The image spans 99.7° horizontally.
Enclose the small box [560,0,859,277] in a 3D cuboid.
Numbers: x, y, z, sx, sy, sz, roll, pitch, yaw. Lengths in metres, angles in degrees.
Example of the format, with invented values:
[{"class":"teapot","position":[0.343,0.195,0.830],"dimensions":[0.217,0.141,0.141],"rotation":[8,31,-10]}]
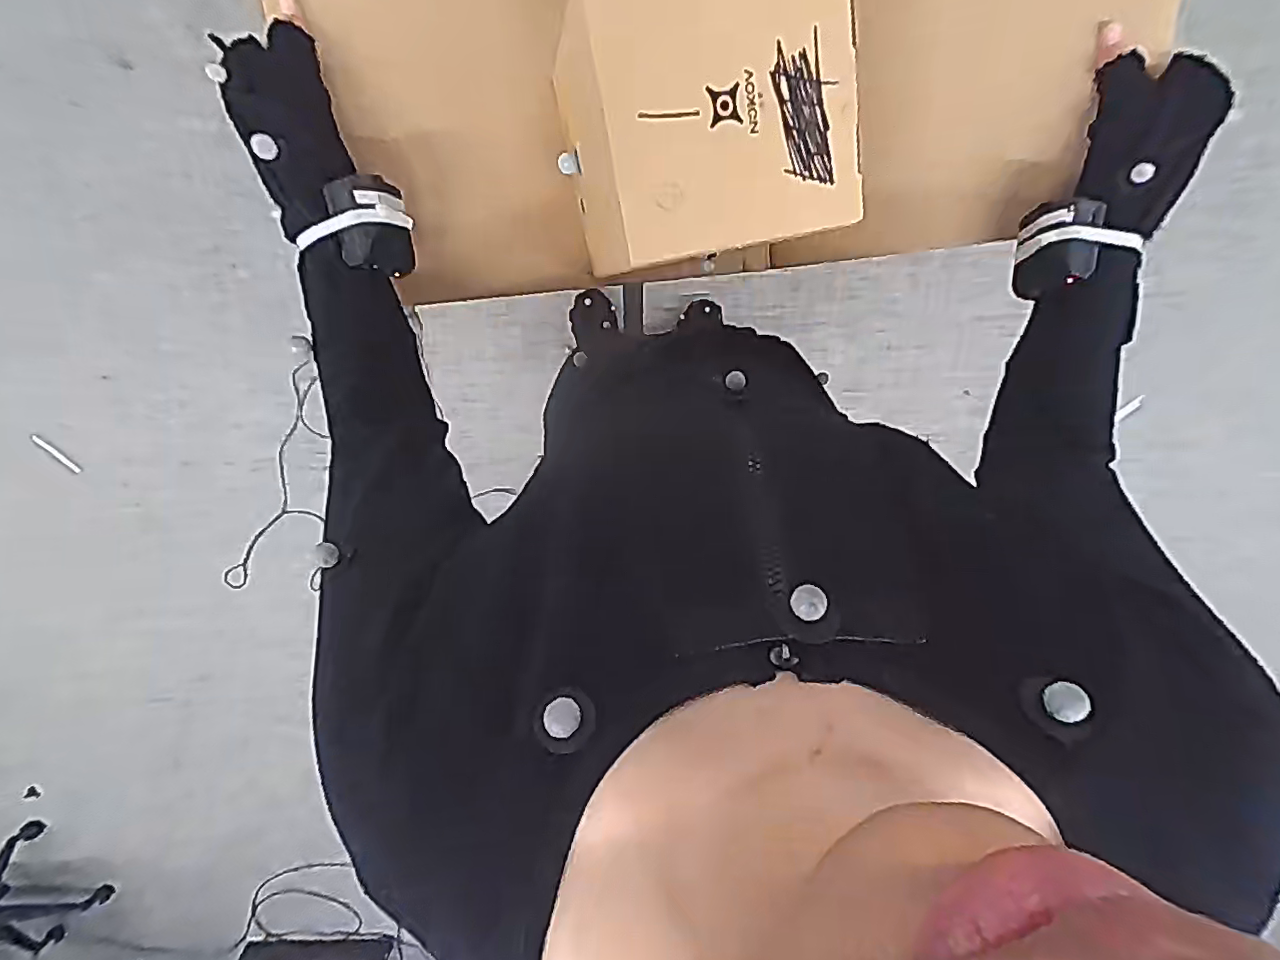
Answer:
[{"class":"small box","position":[0.045,-0.263,0.426],"dimensions":[0.179,0.176,0.168],"rotation":[-14,109,-9]}]
